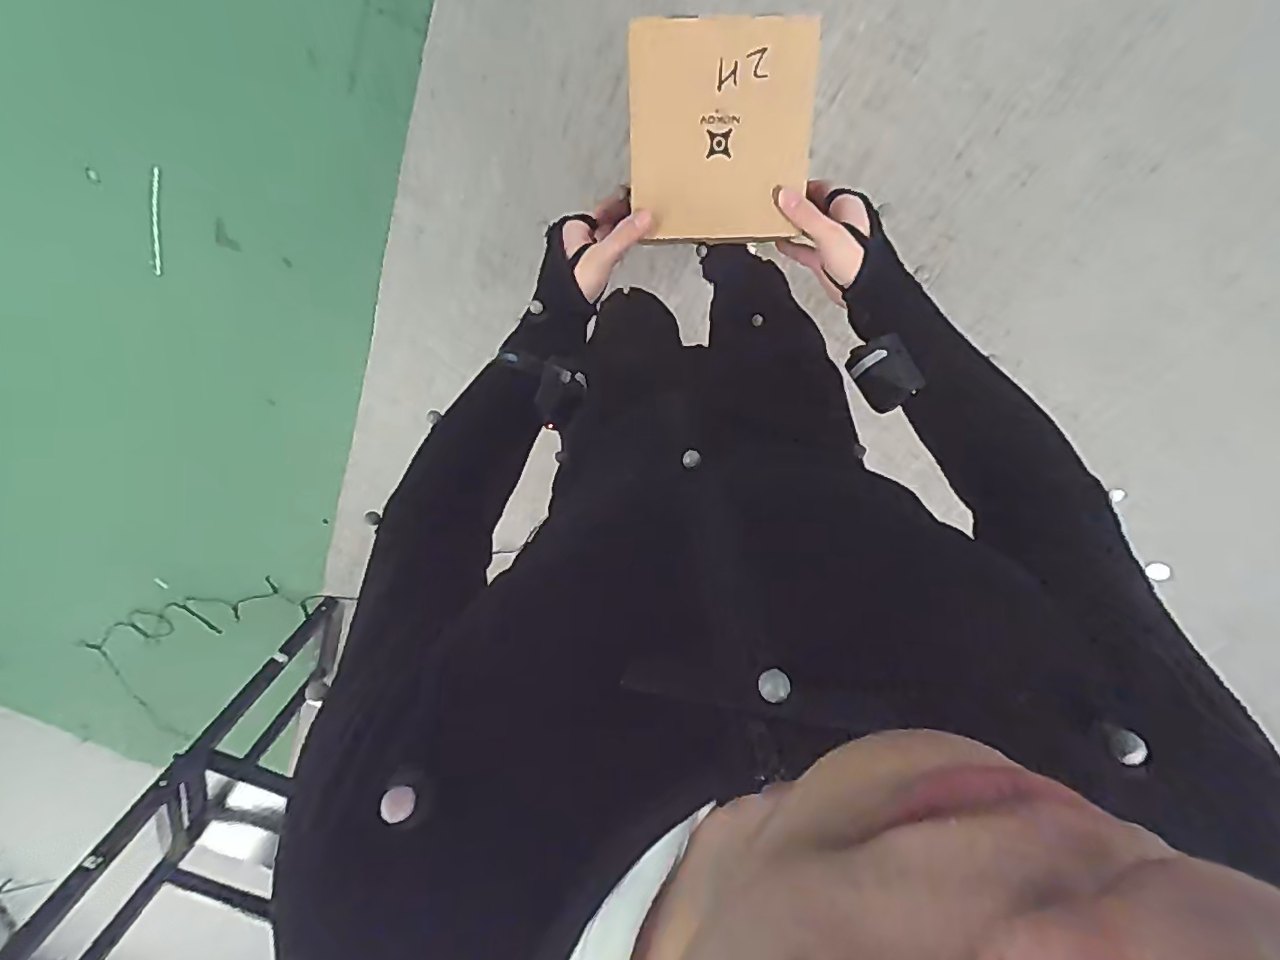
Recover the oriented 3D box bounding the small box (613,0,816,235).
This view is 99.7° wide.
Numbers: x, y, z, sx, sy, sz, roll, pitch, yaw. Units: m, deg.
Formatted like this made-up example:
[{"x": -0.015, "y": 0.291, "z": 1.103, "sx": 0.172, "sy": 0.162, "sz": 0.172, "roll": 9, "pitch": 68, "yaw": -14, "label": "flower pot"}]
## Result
[{"x": 0.059, "y": -0.343, "z": 0.540, "sx": 0.168, "sy": 0.176, "sz": 0.179, "roll": 0, "pitch": 112, "yaw": -1, "label": "small box"}]
